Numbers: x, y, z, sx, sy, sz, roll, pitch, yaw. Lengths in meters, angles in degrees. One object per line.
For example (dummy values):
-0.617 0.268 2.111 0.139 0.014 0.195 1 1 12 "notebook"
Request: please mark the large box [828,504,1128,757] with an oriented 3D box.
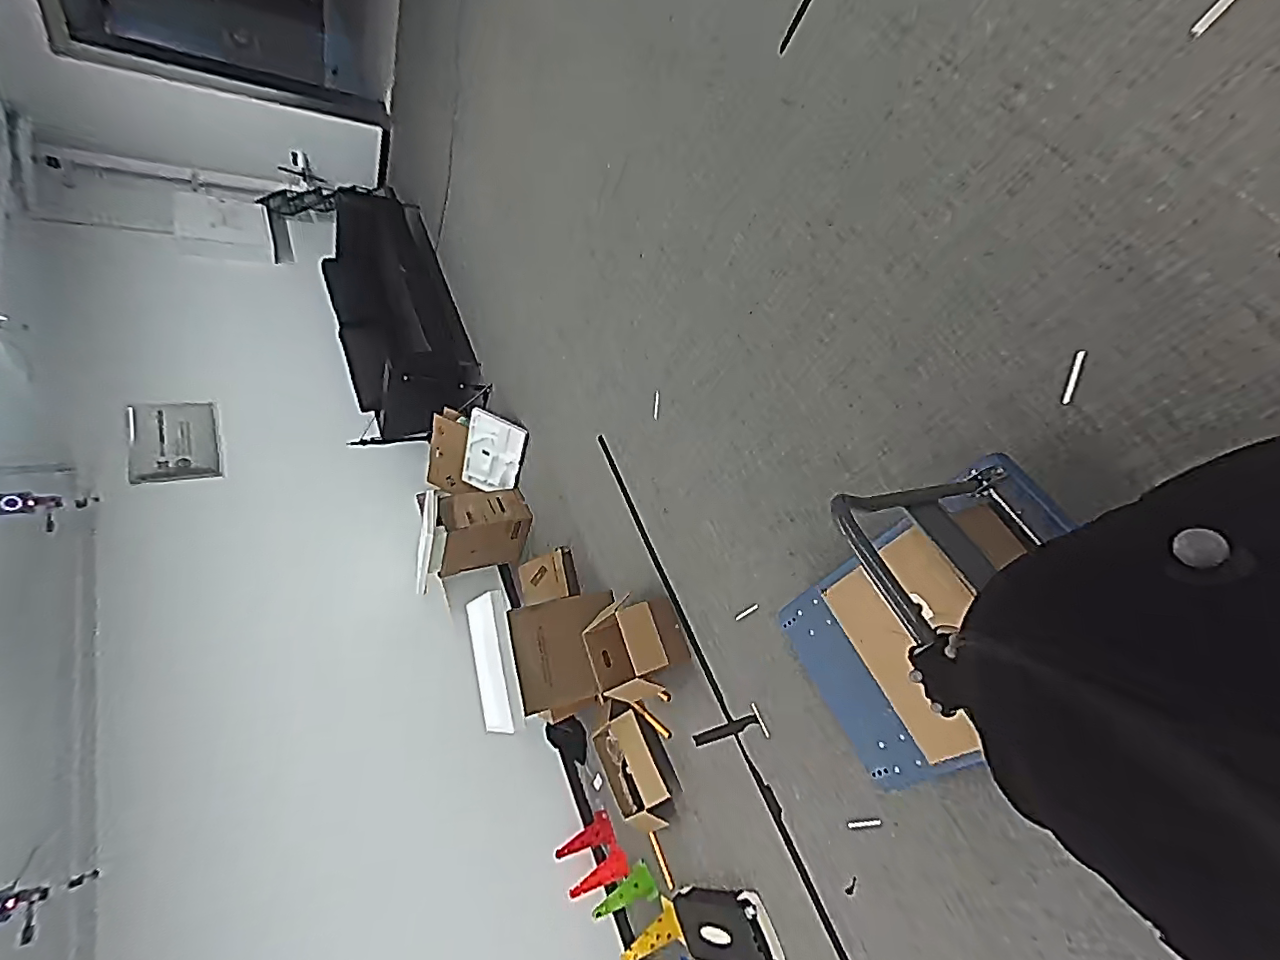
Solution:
0.713 0.313 1.183 0.320 0.320 0.408 -56 51 43 "large box"
